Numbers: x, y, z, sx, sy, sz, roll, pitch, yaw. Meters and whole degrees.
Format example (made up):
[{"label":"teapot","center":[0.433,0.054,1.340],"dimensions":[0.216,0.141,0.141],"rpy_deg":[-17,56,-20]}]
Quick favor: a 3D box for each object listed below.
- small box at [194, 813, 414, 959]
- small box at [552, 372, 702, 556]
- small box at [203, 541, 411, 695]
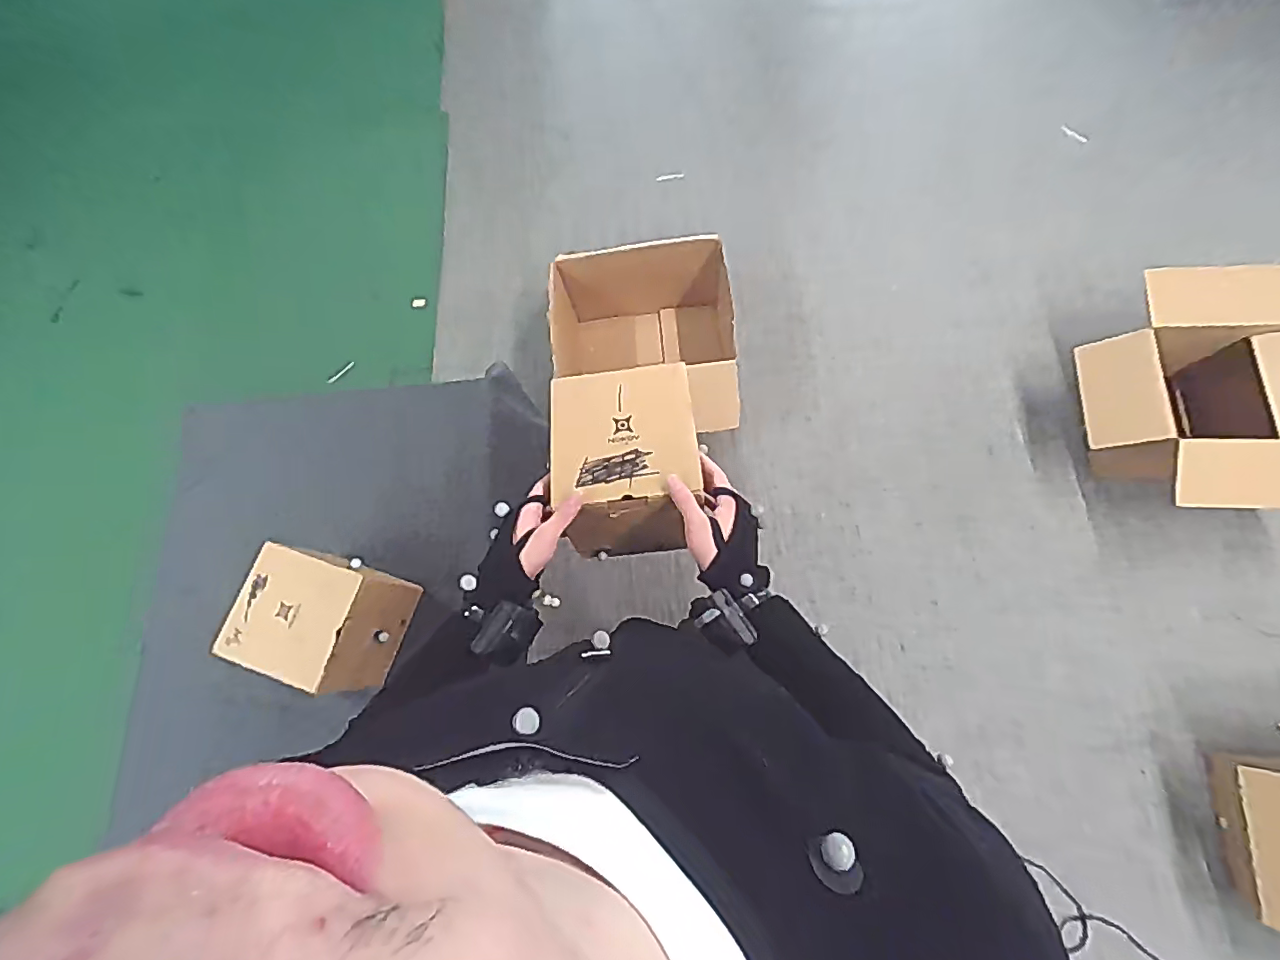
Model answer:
[{"label":"small box","center":[-0.416,0.544,0.690],"dimensions":[0.179,0.176,0.168],"rpy_deg":[-7,73,3]},{"label":"small box","center":[-0.010,-0.010,0.686],"dimensions":[0.168,0.176,0.179],"rpy_deg":[-5,61,3]},{"label":"small box","center":[-0.484,0.207,0.818],"dimensions":[0.179,0.176,0.168],"rpy_deg":[16,75,10]}]
